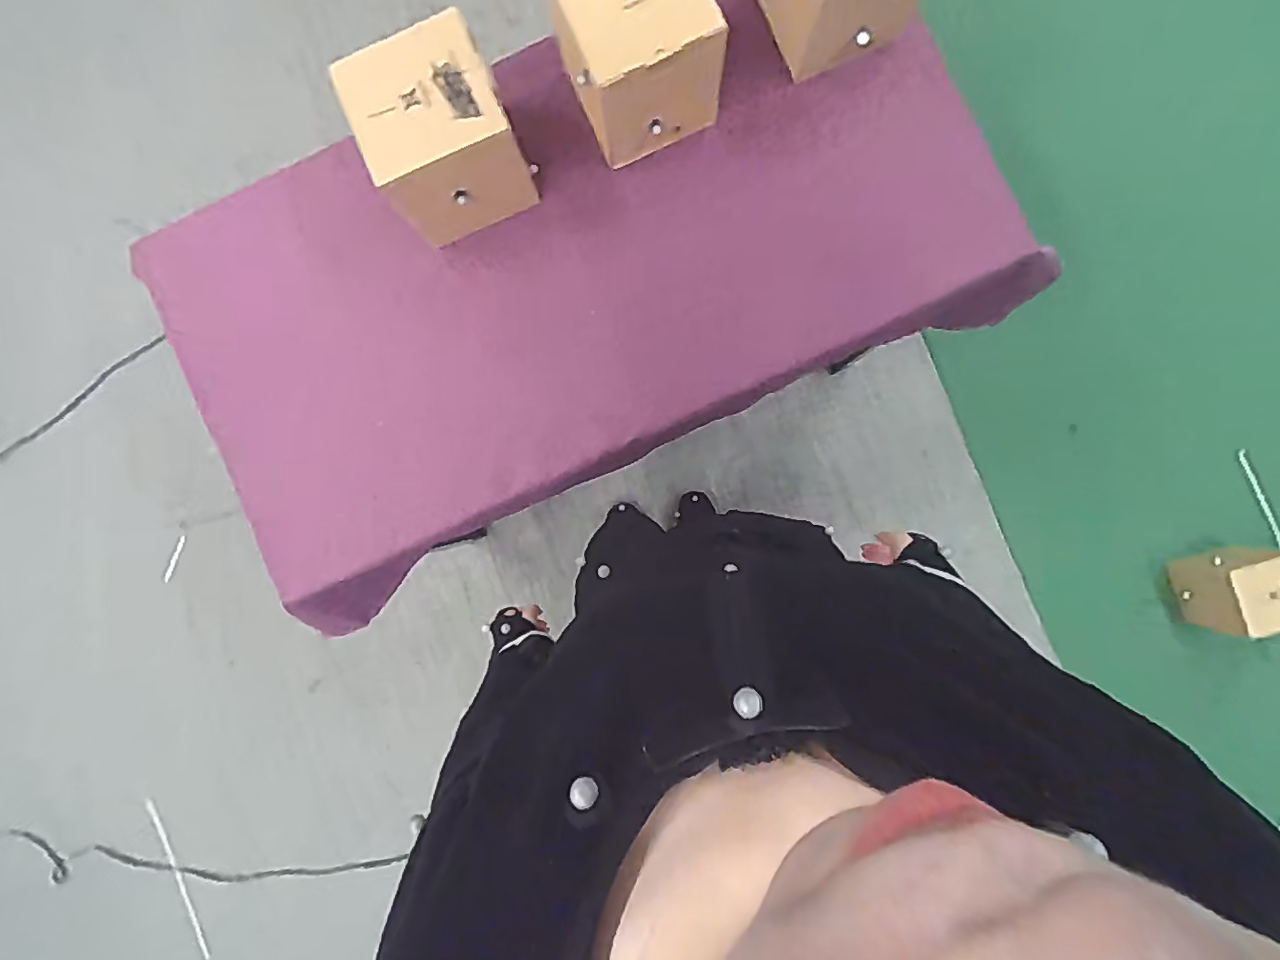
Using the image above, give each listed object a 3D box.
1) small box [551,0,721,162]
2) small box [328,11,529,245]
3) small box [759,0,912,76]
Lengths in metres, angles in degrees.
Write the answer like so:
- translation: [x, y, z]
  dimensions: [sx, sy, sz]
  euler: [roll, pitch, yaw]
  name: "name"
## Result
- translation: [-0.009, -0.574, 0.717]
  dimensions: [0.168, 0.176, 0.179]
  euler: [-25, 89, 3]
  name: "small box"
- translation: [-0.264, -0.453, 0.726]
  dimensions: [0.179, 0.176, 0.168]
  euler: [-23, 88, 3]
  name: "small box"
- translation: [0.256, -0.686, 0.698]
  dimensions: [0.168, 0.176, 0.179]
  euler: [-22, 91, 3]
  name: "small box"
